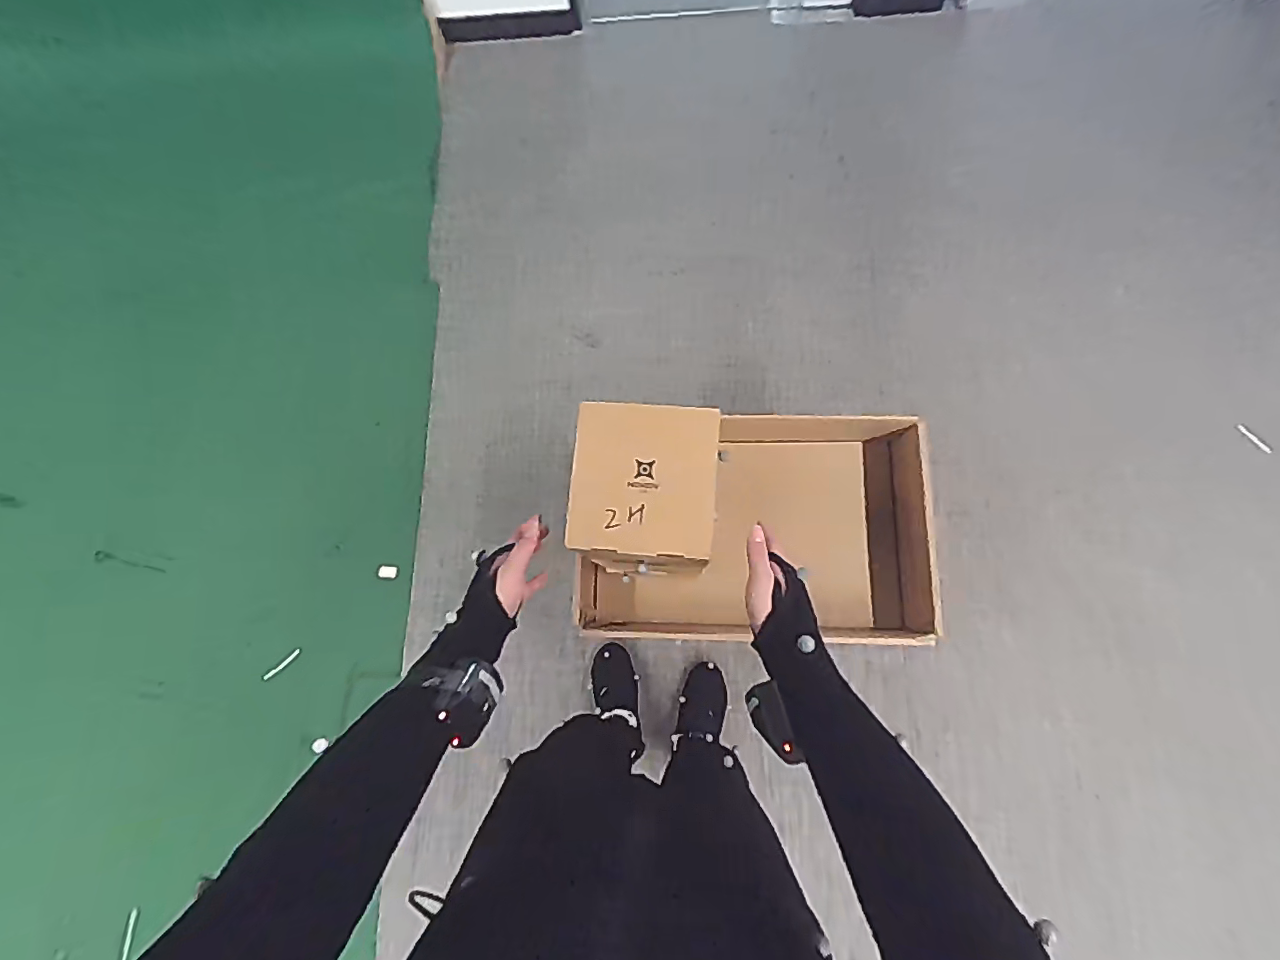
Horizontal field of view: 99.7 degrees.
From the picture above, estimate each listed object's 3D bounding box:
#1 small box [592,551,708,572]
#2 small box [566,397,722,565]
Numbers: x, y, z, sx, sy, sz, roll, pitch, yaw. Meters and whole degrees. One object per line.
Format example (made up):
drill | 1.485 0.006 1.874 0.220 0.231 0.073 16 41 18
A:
small box | 0.023 0.047 0.852 0.168 0.176 0.179 2 77 5
small box | 0.011 0.009 0.692 0.168 0.176 0.179 4 78 6
